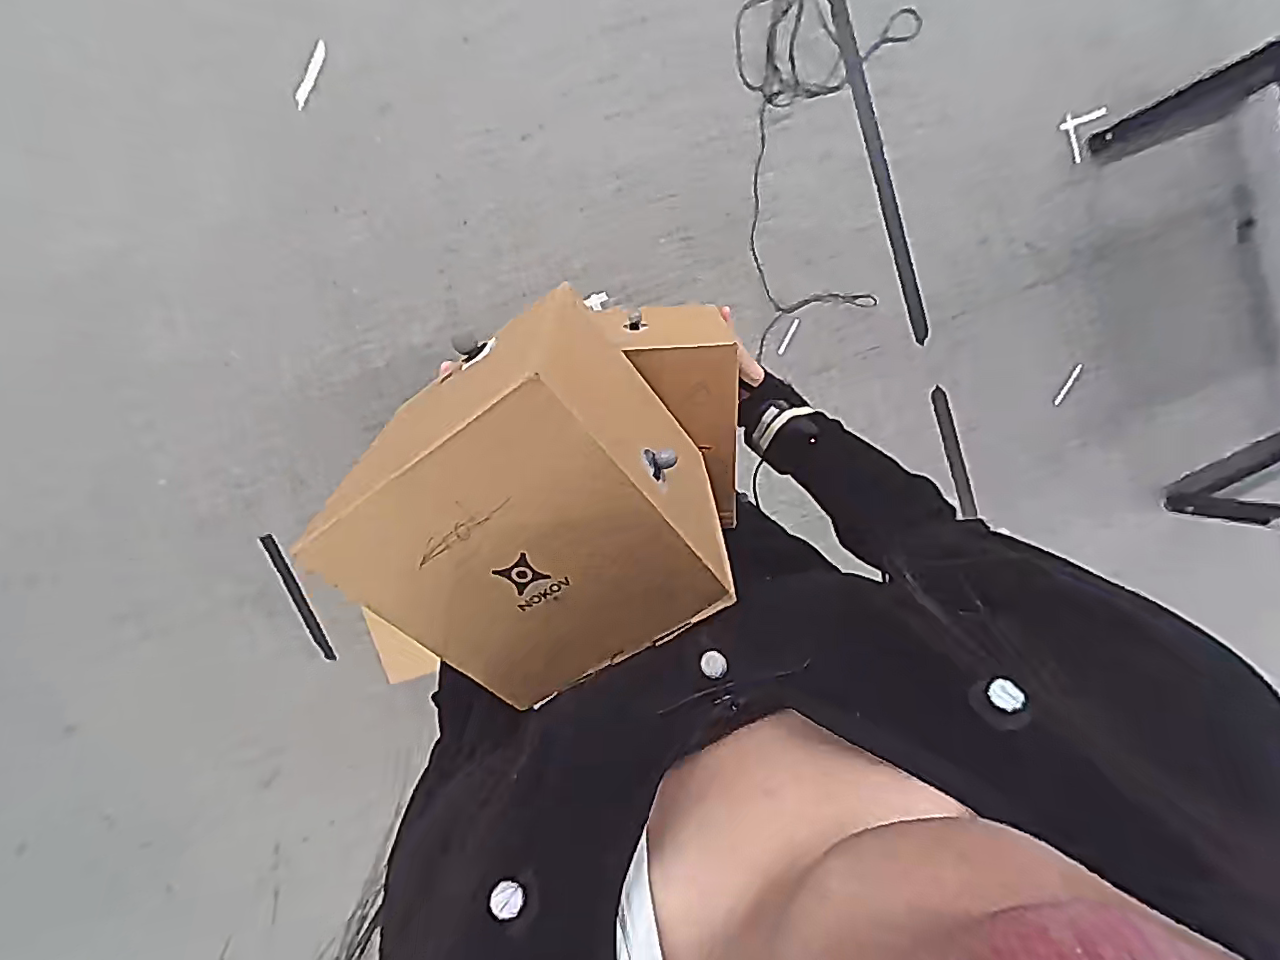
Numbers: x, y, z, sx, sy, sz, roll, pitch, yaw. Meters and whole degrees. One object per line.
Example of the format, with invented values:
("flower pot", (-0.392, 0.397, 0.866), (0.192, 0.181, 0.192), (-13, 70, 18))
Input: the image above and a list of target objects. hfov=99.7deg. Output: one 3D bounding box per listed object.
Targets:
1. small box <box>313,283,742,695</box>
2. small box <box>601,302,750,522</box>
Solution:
("small box", (-0.057, 0.001, 0.359), (0.168, 0.176, 0.179), (-32, 119, 16))
("small box", (0.001, -0.070, 0.517), (0.179, 0.176, 0.168), (-2, 118, 2))
